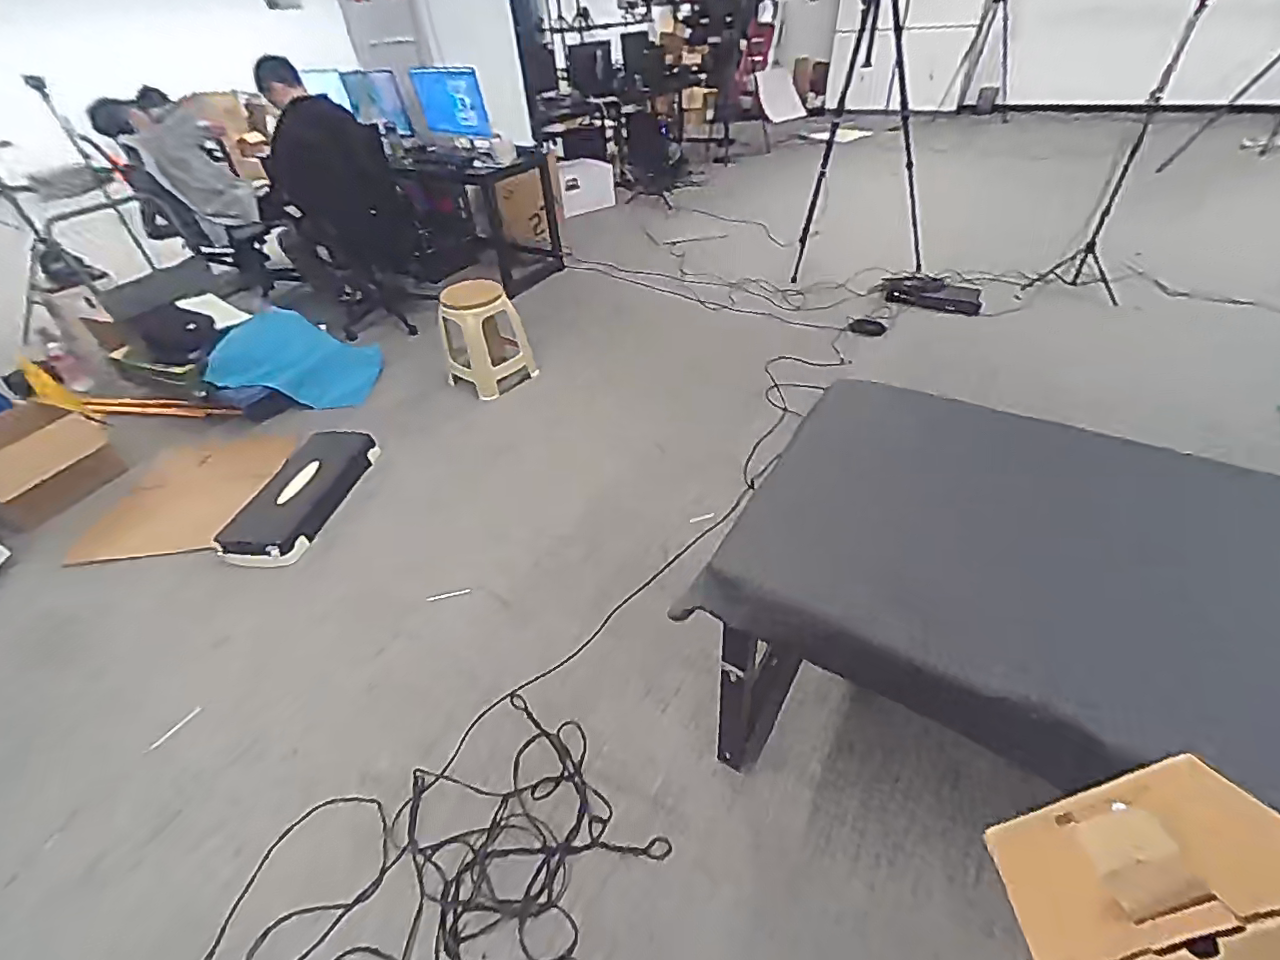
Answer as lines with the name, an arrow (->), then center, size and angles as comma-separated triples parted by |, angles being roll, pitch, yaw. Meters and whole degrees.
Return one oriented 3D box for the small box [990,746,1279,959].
small box -> 0.367, 0.308, 0.341 | 0.168, 0.176, 0.179 | -35, 73, 15
